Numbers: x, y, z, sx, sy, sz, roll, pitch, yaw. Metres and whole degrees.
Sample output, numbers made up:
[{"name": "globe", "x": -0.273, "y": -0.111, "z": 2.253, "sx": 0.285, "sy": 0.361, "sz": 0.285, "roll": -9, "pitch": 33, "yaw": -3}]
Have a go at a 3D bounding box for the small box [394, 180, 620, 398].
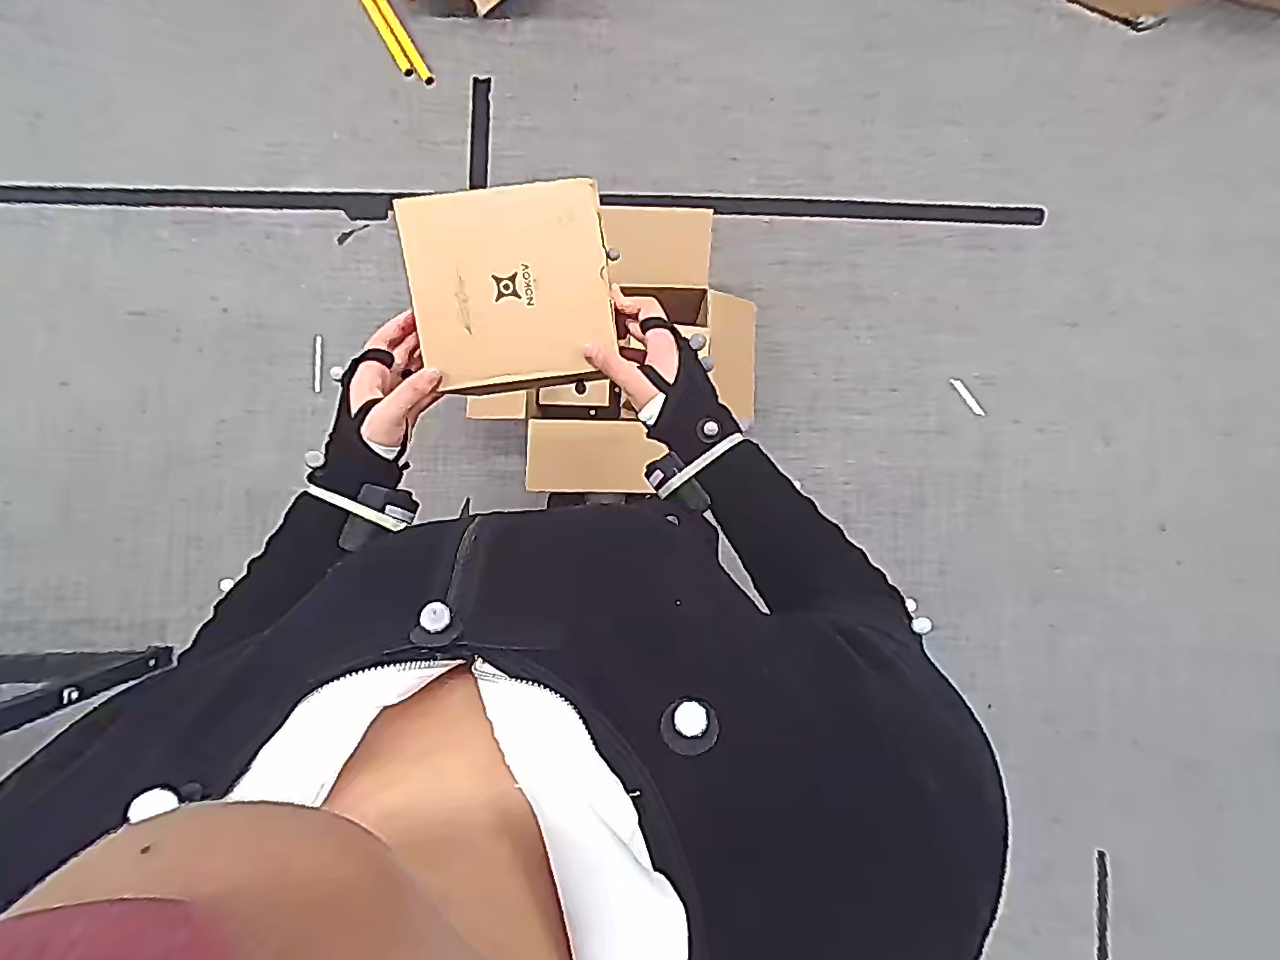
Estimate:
[{"name": "small box", "x": -0.119, "y": -0.178, "z": 0.554, "sx": 0.179, "sy": 0.176, "sz": 0.168, "roll": -9, "pitch": 97, "yaw": -1}]
